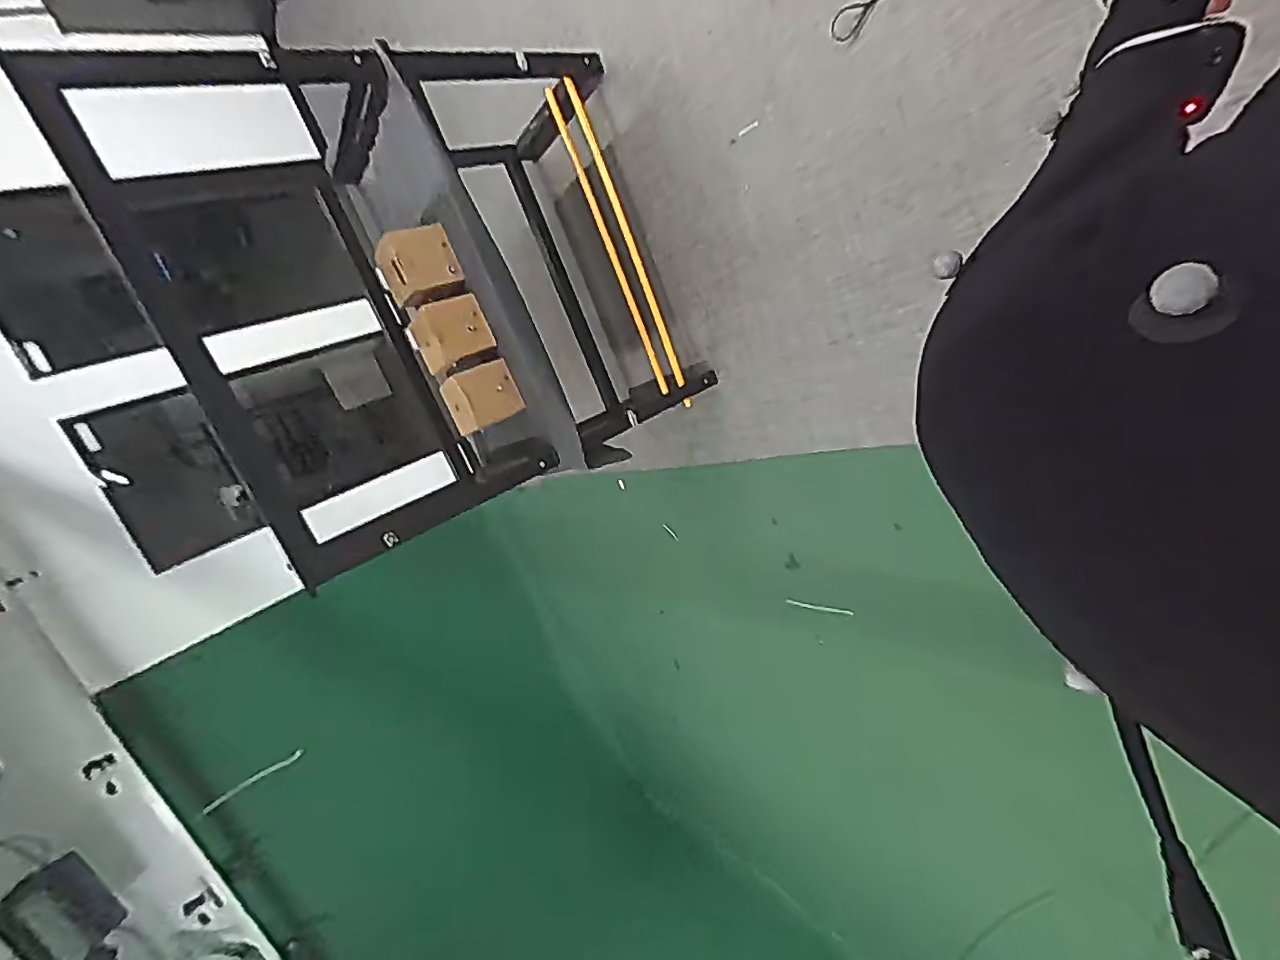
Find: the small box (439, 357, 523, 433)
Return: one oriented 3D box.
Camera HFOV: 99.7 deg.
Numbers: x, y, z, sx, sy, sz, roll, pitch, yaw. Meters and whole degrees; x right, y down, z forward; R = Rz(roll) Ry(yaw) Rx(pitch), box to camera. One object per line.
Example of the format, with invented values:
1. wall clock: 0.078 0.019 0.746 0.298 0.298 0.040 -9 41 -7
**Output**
1. small box: -0.487 -0.260 1.668 0.179 0.176 0.168 -9 108 55
